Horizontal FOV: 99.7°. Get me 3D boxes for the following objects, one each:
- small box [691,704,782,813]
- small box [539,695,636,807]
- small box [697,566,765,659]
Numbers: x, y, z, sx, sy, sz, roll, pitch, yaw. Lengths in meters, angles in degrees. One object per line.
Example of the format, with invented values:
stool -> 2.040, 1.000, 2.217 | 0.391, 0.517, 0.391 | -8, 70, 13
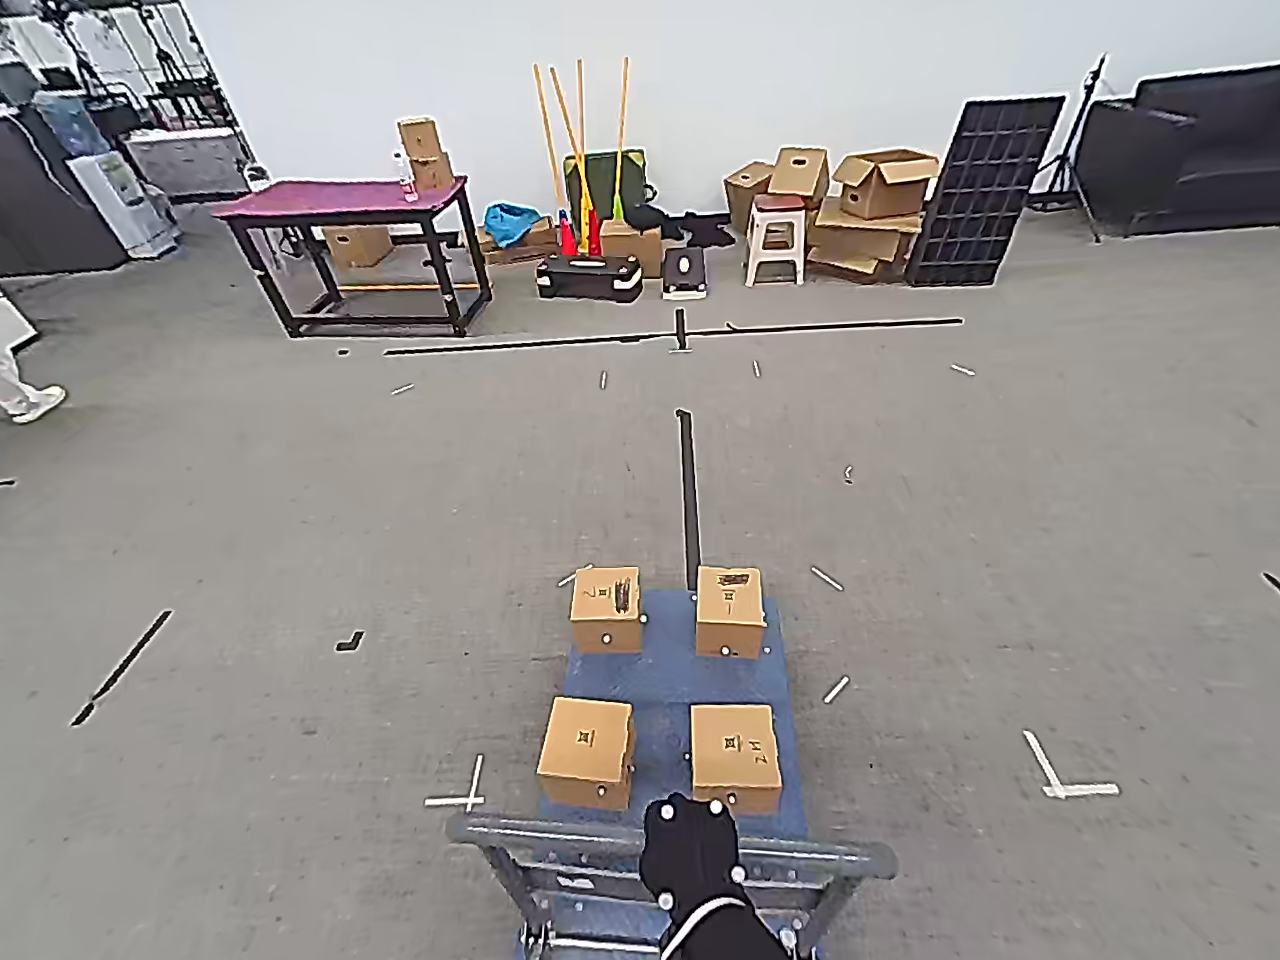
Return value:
small box -> 0.201, 0.604, 1.171 | 0.179, 0.176, 0.168 | -1, 42, 4
small box -> -0.107, 0.602, 1.198 | 0.179, 0.176, 0.168 | 3, 42, 6
small box -> 0.239, 0.352, 1.445 | 0.168, 0.176, 0.179 | 2, 43, 7
